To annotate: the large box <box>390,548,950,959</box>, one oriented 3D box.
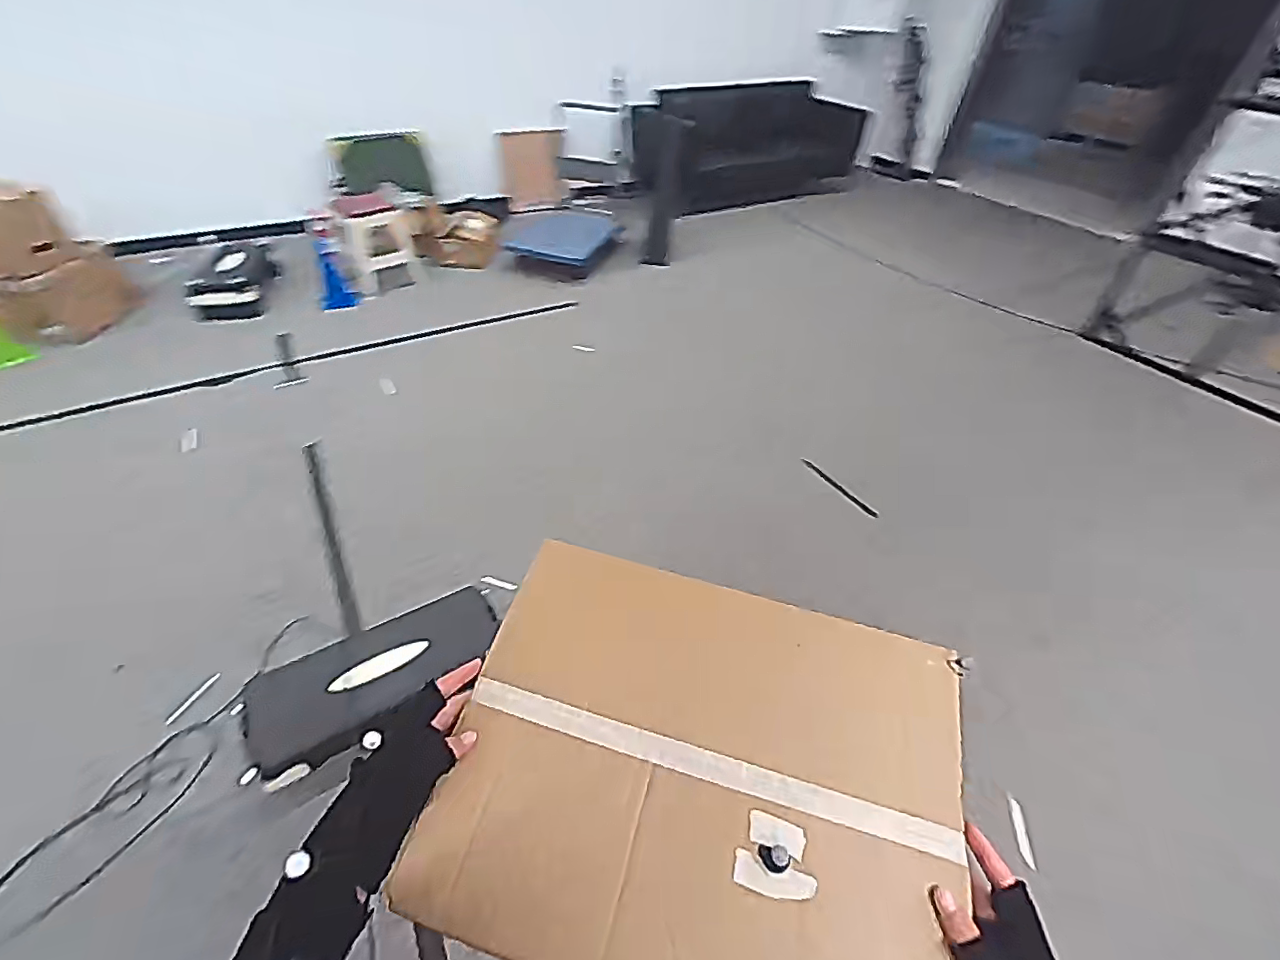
[{"bbox_3d":[0.042,0.317,0.568,0.408,0.320,0.320,13,56,8],"label":"large box"}]
